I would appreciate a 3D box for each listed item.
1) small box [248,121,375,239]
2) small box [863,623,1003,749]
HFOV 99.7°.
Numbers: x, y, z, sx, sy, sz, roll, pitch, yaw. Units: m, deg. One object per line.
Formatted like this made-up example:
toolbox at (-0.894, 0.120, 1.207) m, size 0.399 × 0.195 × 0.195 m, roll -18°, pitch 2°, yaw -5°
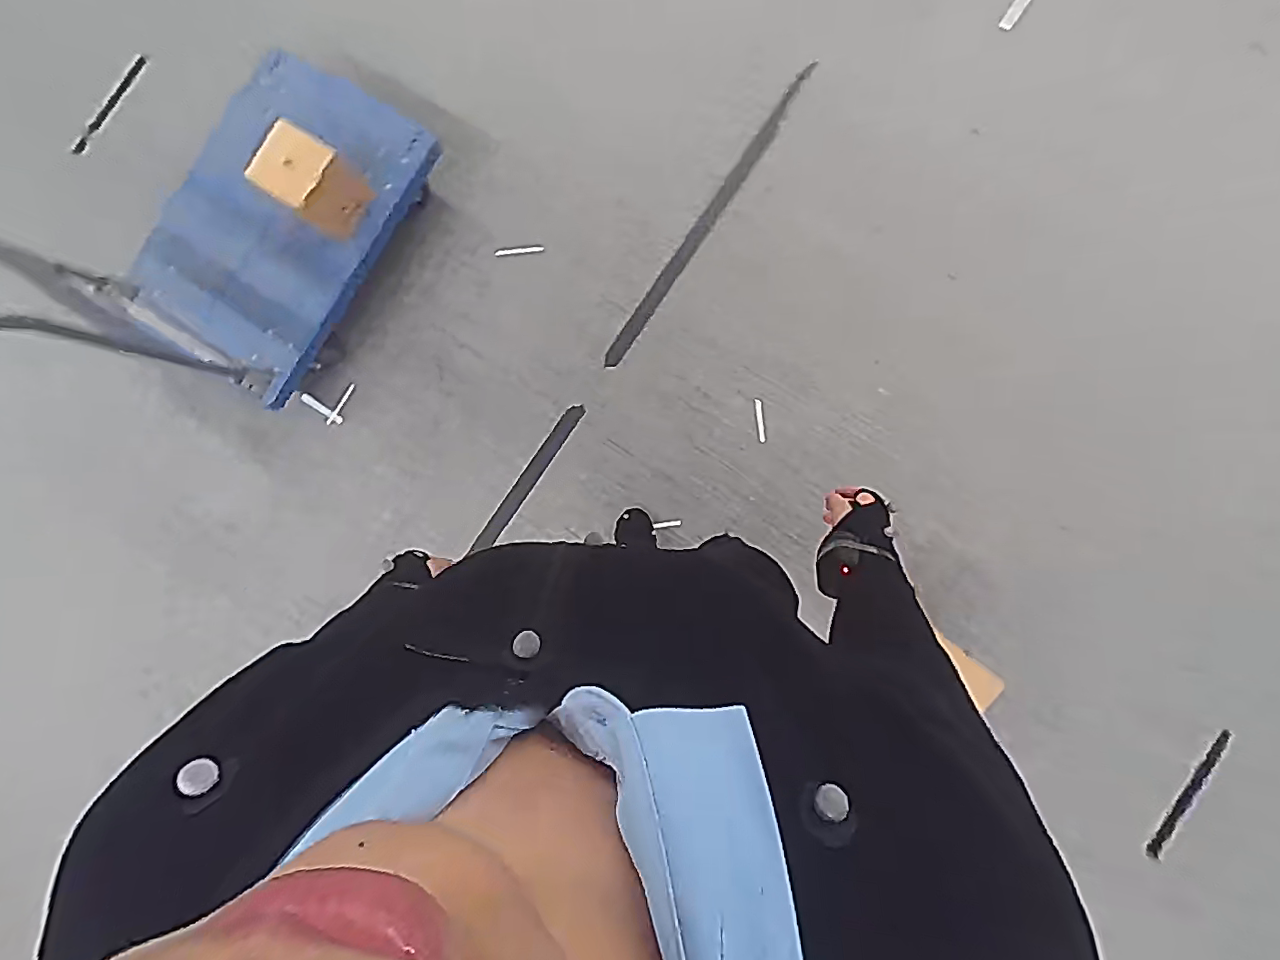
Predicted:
small box at (-0.824, -0.750, 1.371) m, size 0.179 × 0.176 × 0.168 m, roll 32°, pitch 90°, yaw 6°
small box at (0.627, 0.436, 1.180) m, size 0.179 × 0.176 × 0.168 m, roll 39°, pitch 89°, yaw 7°
